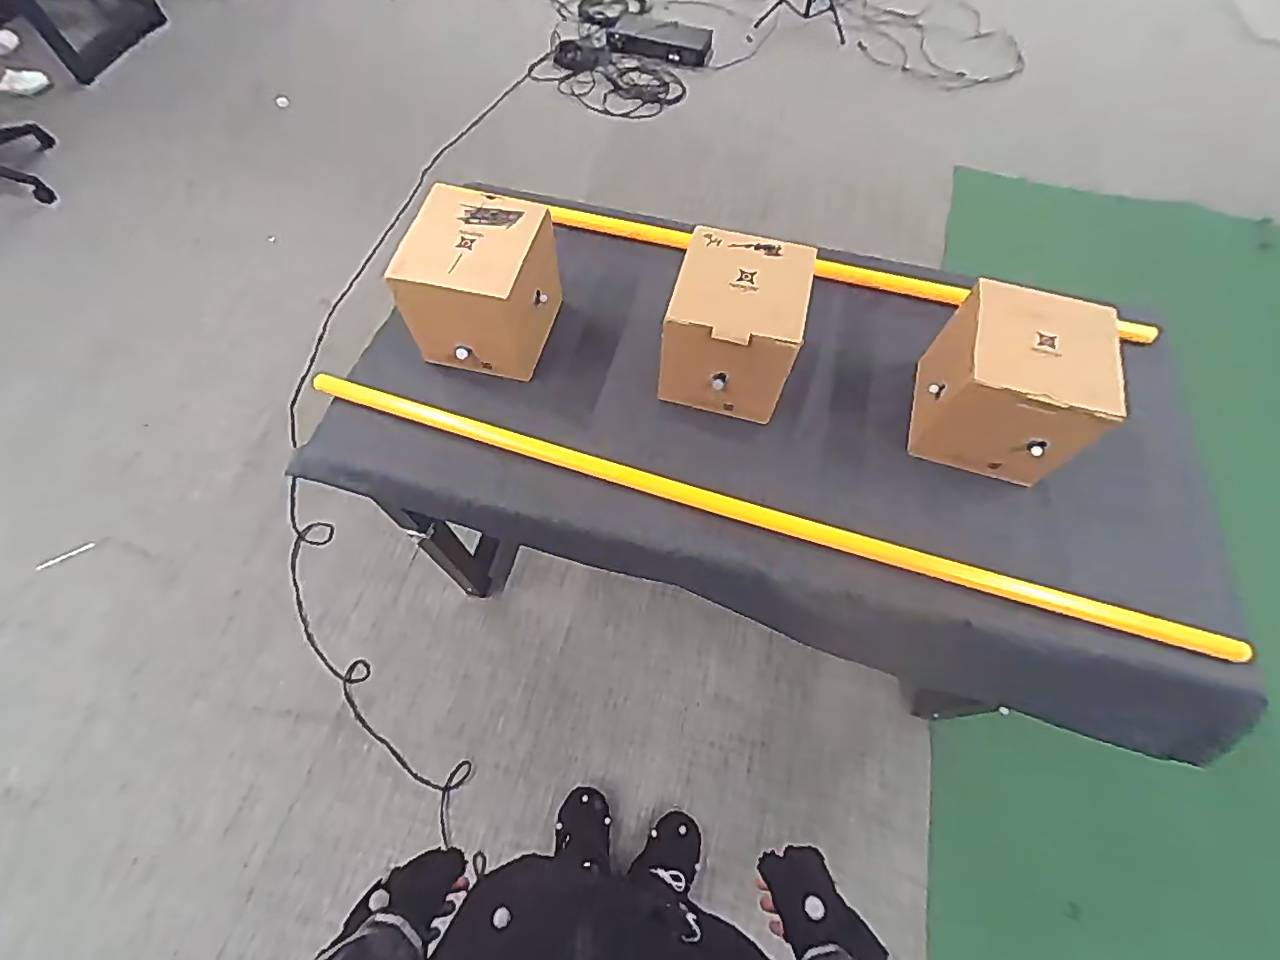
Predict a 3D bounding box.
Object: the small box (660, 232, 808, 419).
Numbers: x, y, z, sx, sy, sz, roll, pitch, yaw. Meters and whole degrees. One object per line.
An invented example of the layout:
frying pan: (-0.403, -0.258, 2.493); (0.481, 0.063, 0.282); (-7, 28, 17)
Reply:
small box: (0.125, -0.208, 0.753); (0.168, 0.176, 0.179); (11, 62, 6)

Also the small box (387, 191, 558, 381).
small box: (-0.221, -0.273, 0.776); (0.168, 0.176, 0.179); (12, 64, 5)

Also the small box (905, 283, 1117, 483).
small box: (0.471, -0.120, 0.712); (0.168, 0.176, 0.179); (17, 62, 7)
